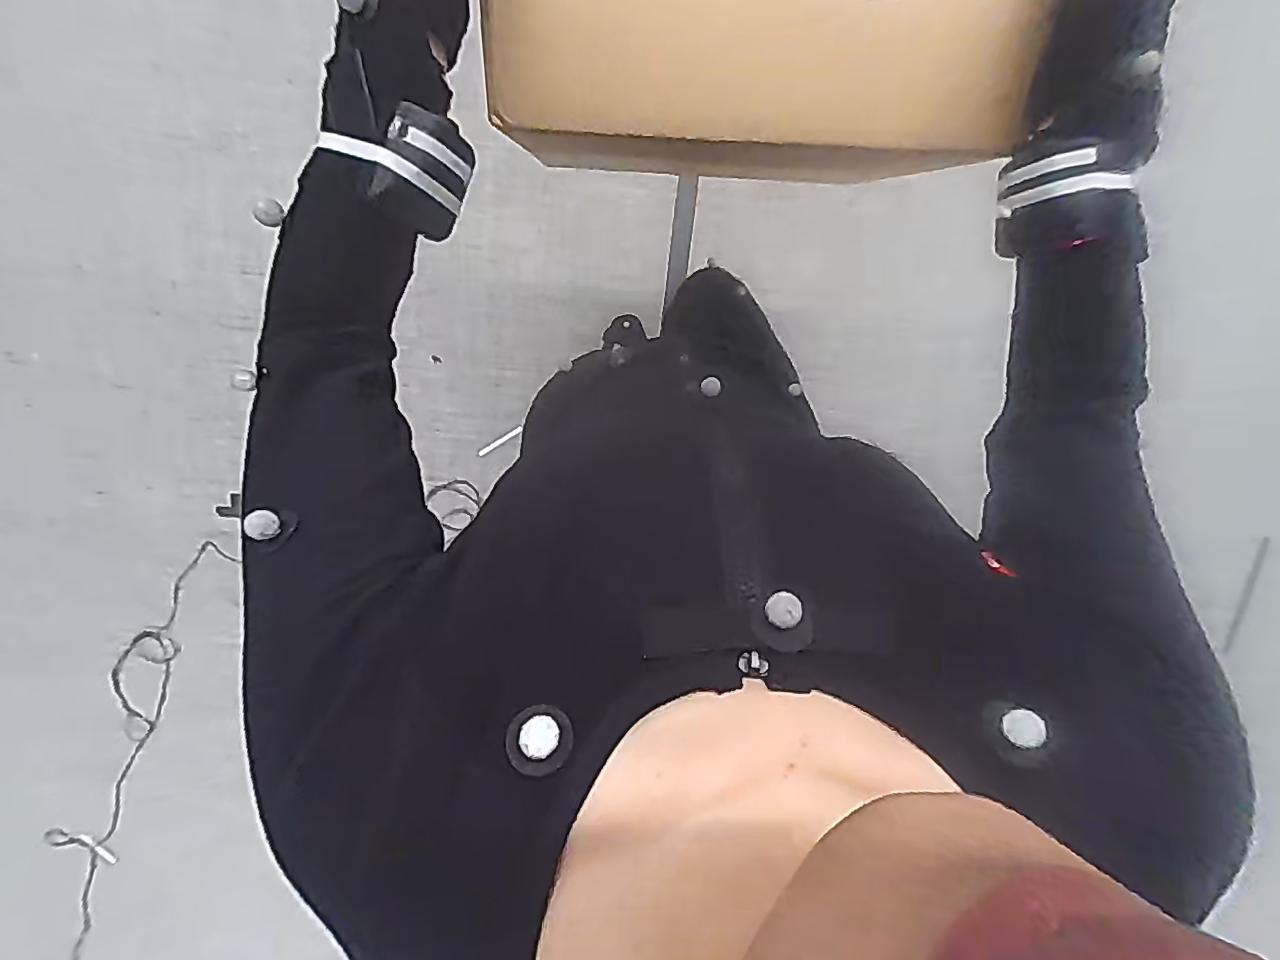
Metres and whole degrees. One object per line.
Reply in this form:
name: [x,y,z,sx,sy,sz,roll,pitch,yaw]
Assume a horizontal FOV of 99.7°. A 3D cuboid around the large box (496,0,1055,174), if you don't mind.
large box: [0.091,-0.466,0.480,0.408,0.320,0.320,1,116,-4]
